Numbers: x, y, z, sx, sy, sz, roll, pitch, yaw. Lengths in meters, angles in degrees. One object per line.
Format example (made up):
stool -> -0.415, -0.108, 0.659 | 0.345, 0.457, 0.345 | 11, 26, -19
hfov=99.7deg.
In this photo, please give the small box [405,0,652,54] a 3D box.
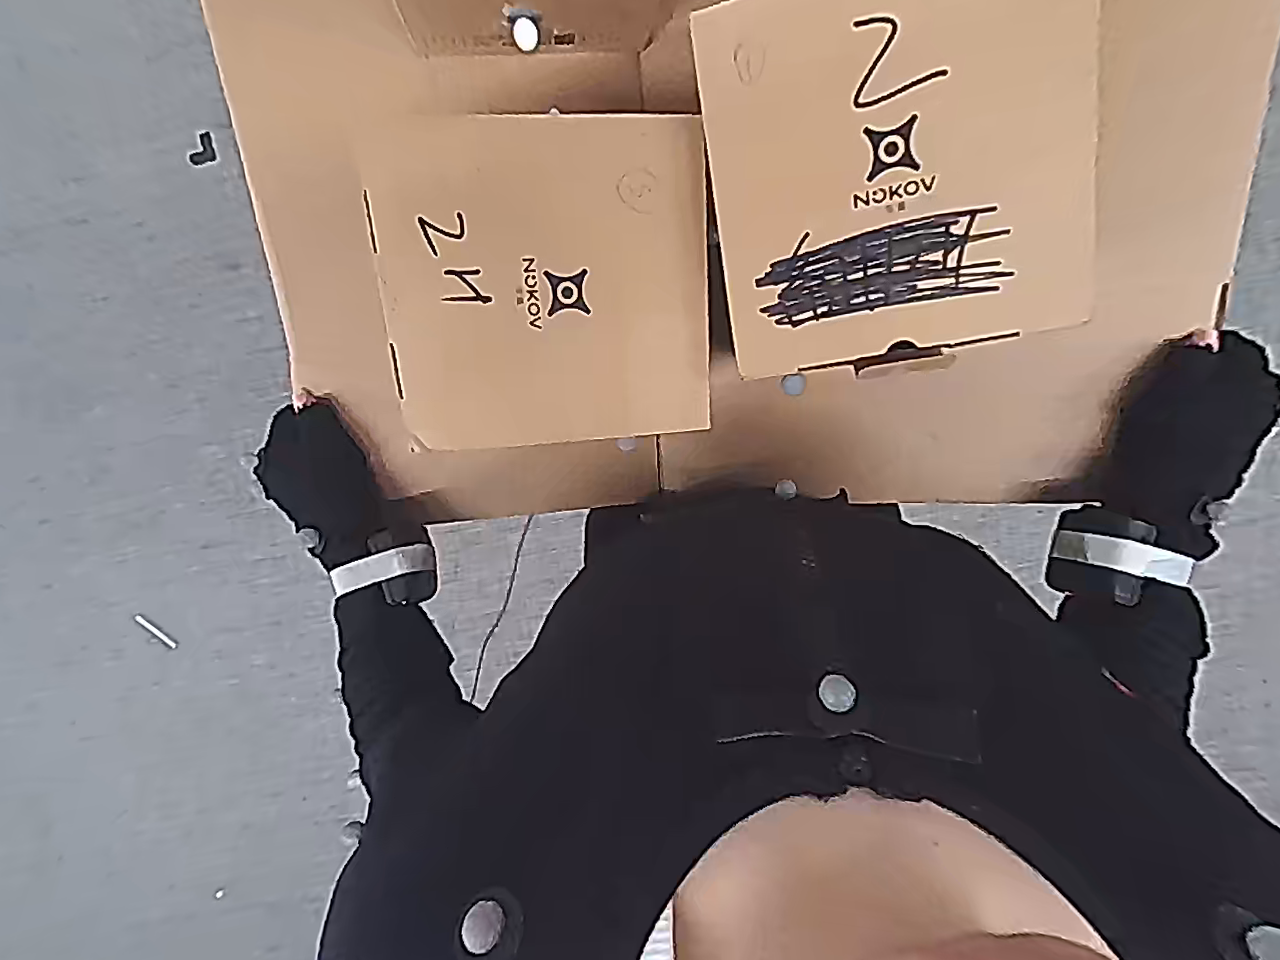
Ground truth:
small box -> -0.074, -0.377, 0.297 | 0.168, 0.176, 0.179 | -7, 107, -7
